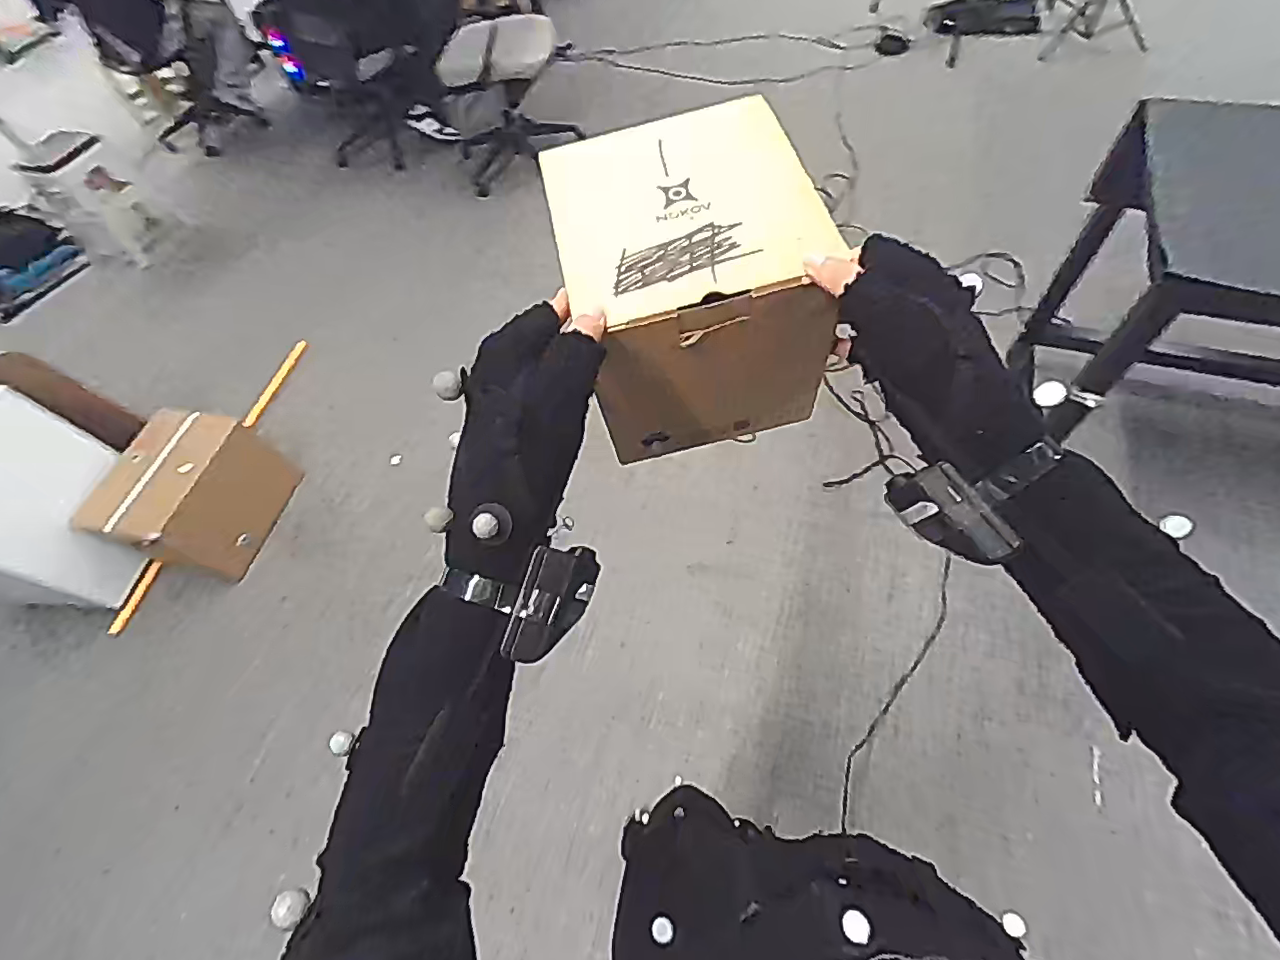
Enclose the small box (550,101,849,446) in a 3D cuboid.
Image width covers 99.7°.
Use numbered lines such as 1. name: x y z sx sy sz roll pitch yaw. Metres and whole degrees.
1. small box: 0.040 -0.143 0.424 0.168 0.176 0.179 -14 63 2
